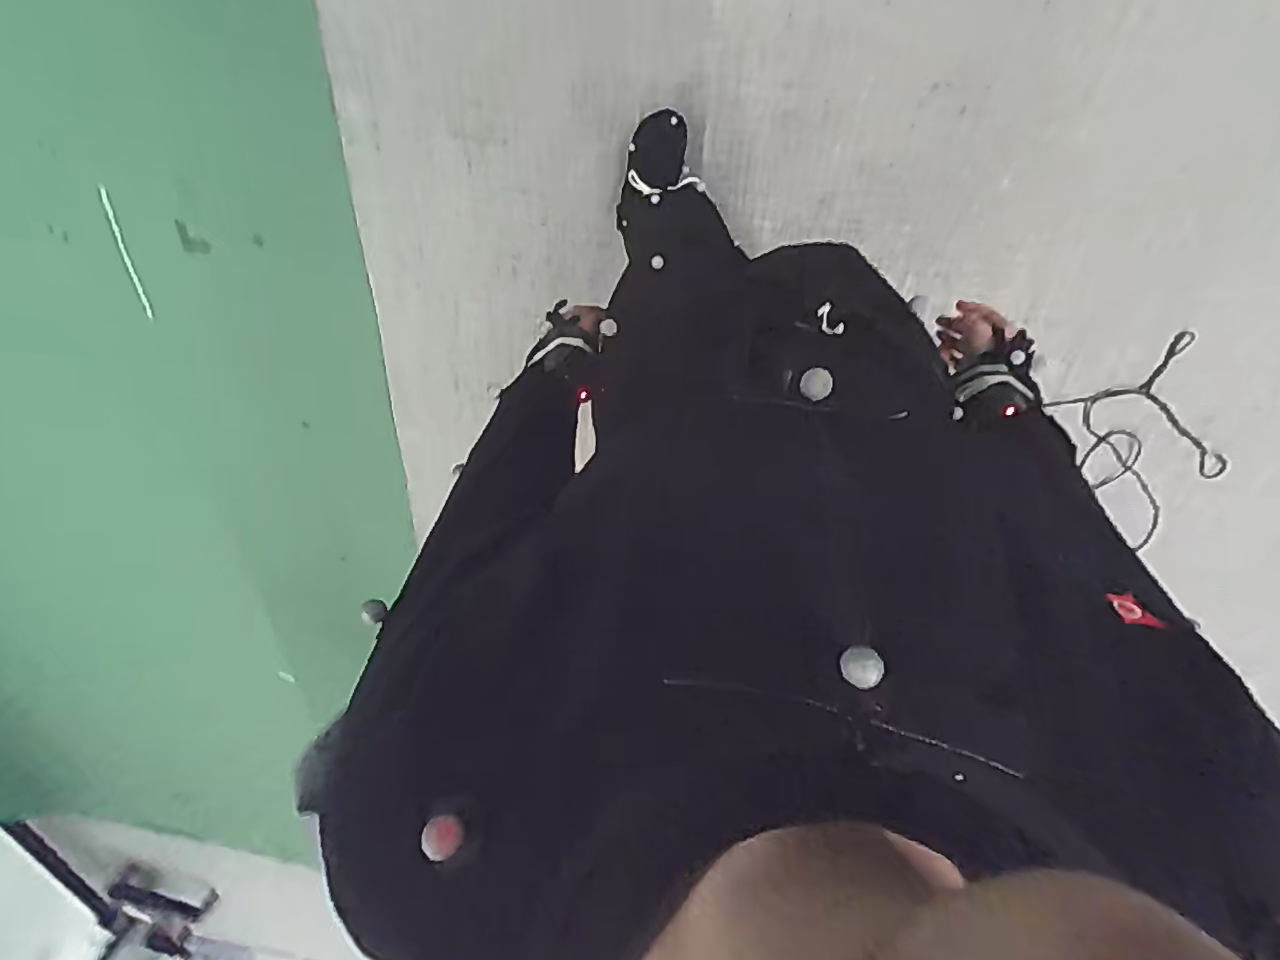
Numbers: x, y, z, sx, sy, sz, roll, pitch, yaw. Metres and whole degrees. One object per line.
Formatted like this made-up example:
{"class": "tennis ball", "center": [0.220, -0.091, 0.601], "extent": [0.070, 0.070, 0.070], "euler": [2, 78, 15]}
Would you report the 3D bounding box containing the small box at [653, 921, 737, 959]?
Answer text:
{"class": "small box", "center": [0.107, 1.051, 1.112], "extent": [0.168, 0.176, 0.179], "euler": [9, 121, 4]}
